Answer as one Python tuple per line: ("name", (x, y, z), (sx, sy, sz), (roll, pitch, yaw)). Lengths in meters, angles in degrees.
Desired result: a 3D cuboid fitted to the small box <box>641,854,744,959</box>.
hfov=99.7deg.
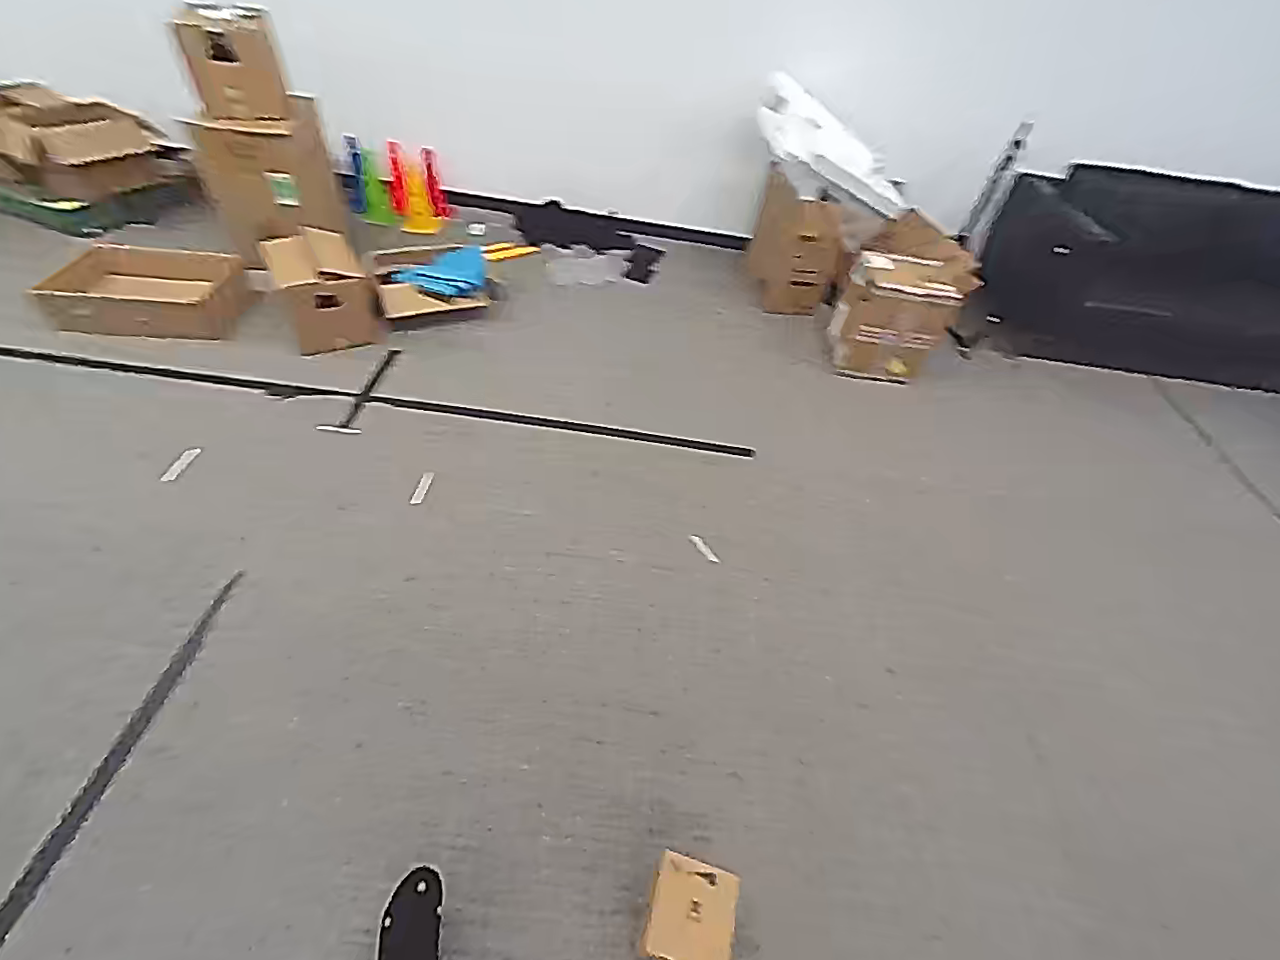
("small box", (0.106, 0.925, 1.132), (0.168, 0.176, 0.179), (17, 47, 6))
